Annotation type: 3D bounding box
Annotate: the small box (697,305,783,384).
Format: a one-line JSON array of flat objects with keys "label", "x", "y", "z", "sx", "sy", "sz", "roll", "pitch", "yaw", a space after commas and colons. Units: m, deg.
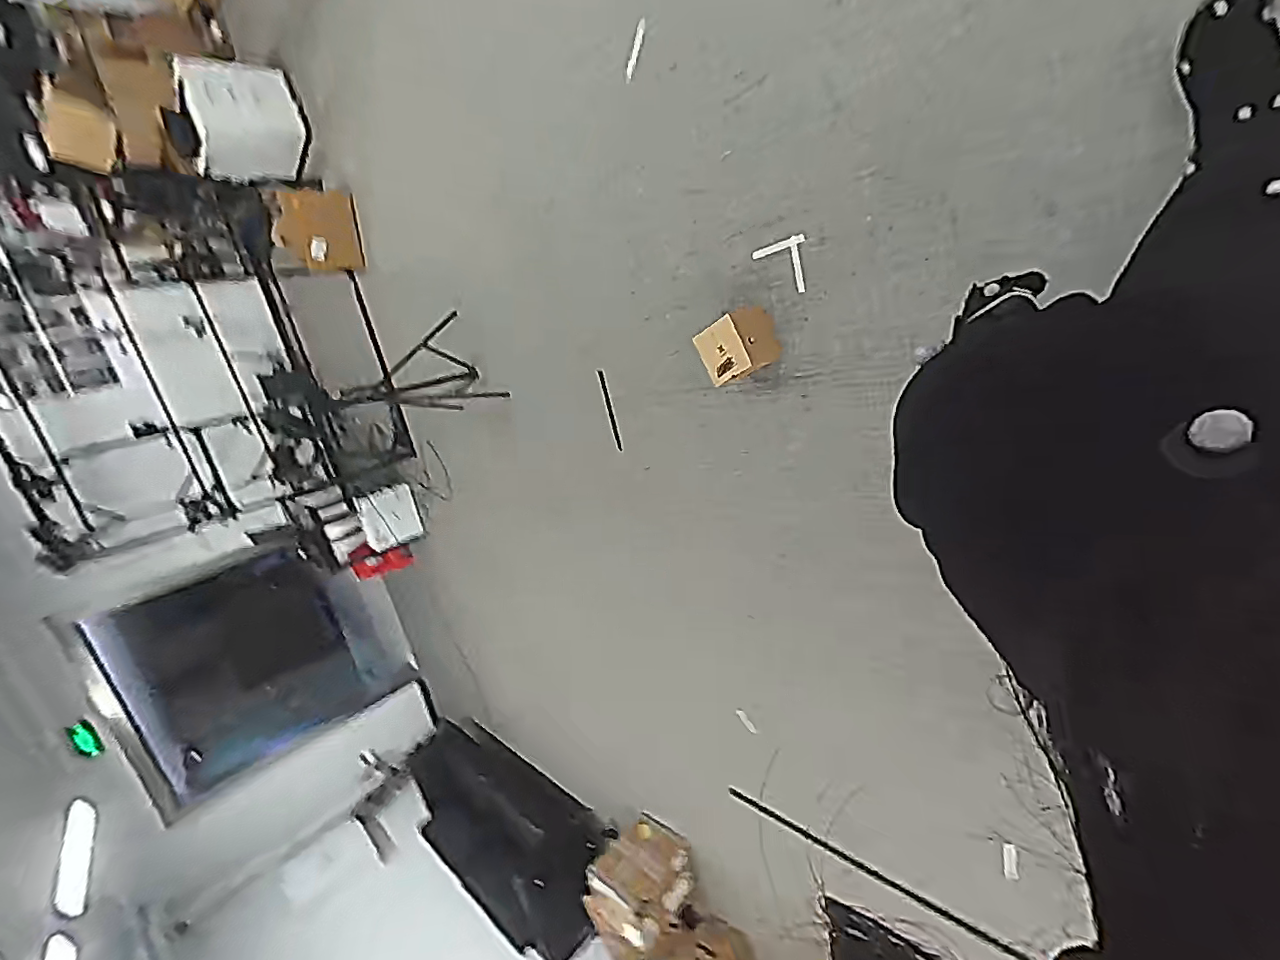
[{"label": "small box", "x": 0.319, "y": -0.427, "z": 1.698, "sx": 0.168, "sy": 0.176, "sz": 0.179, "roll": -24, "pitch": 91, "yaw": 51}]
